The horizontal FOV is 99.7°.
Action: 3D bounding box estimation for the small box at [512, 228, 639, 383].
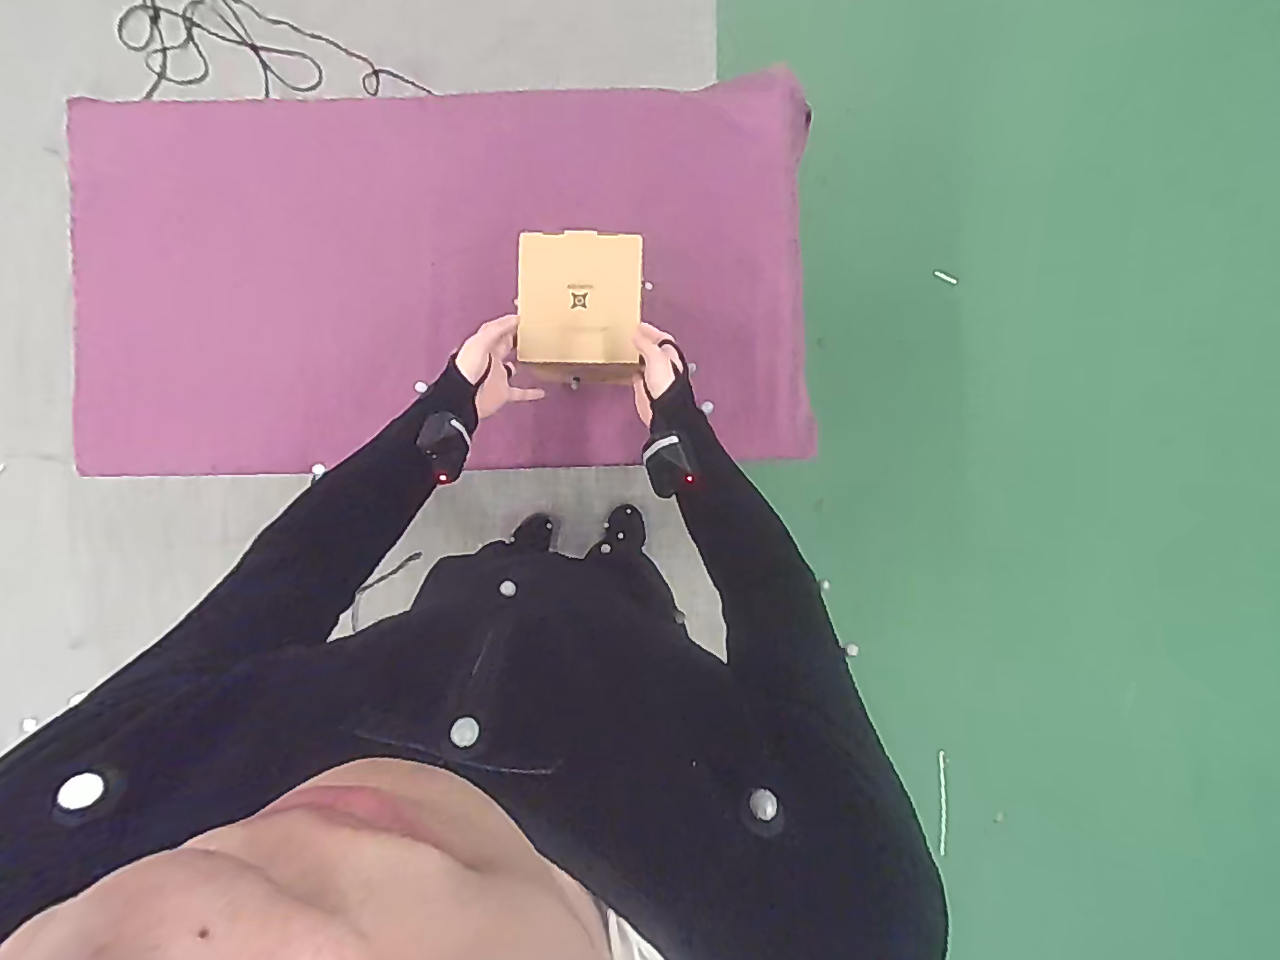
[{"bbox_3d":[-0.087,-0.247,0.799,0.168,0.176,0.179,2,92,0],"label":"small box"}]
